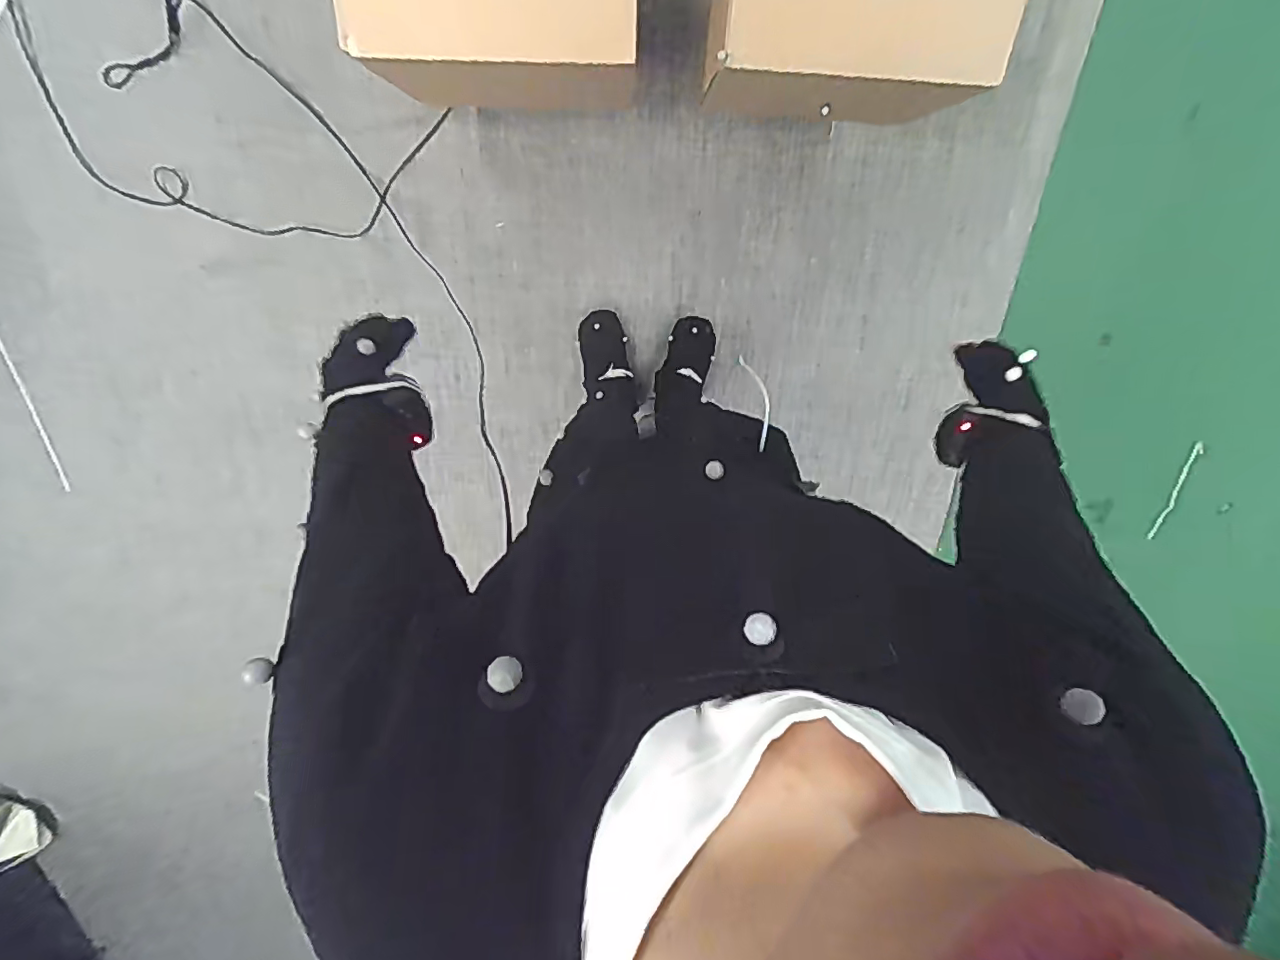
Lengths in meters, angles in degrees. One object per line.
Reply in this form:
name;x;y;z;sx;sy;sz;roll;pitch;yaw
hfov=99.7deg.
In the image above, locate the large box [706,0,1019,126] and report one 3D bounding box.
large box;0.334;-0.776;0.863;0.408;0.320;0.320;3;114;-1
